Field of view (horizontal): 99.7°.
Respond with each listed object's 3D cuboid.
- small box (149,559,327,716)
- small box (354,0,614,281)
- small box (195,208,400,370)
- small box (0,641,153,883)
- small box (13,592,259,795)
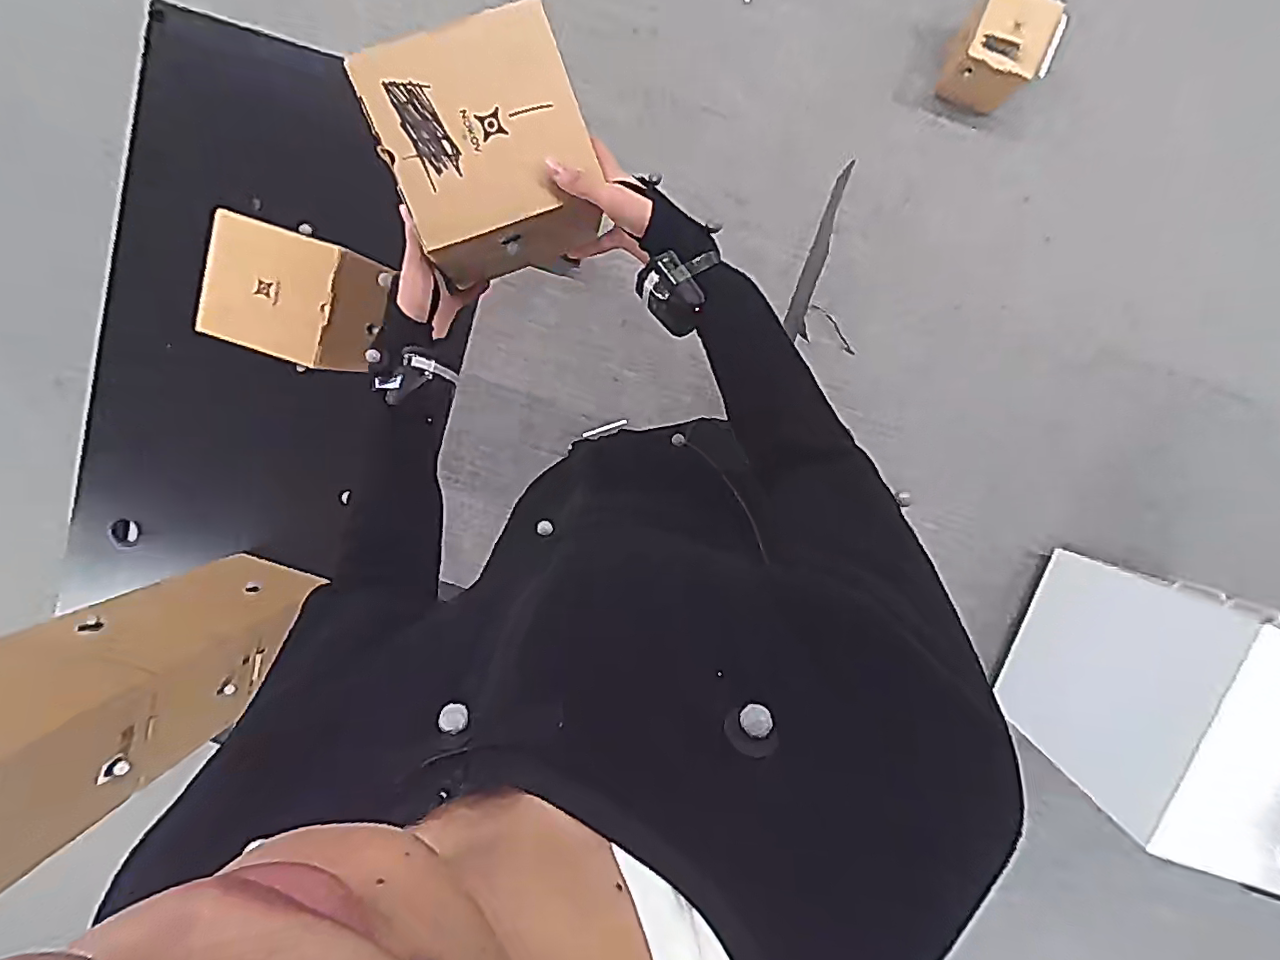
[{"bbox_3d":[-0.646,0.242,0.876,0.179,0.176,0.168,16,98,0],"label":"small box"},{"bbox_3d":[-0.138,-0.316,0.537,0.179,0.176,0.168,-21,101,-5],"label":"small box"},{"bbox_3d":[-0.490,-0.265,0.795,0.179,0.176,0.168,18,99,0],"label":"small box"},{"bbox_3d":[-0.665,0.287,0.552,0.179,0.176,0.168,17,100,0],"label":"small box"},{"bbox_3d":[-0.657,0.265,0.713,0.179,0.176,0.168,17,99,0],"label":"small box"}]
